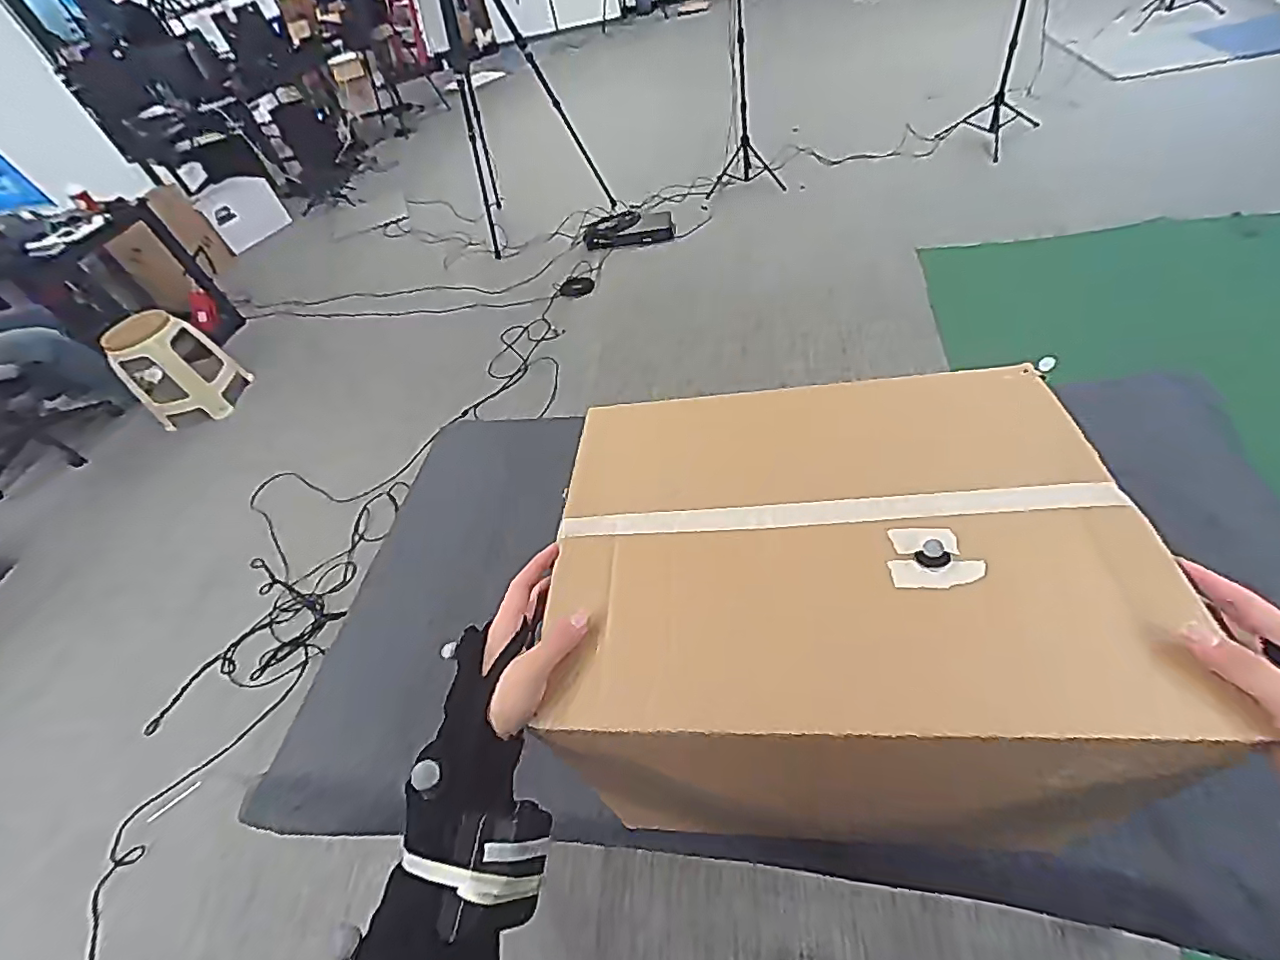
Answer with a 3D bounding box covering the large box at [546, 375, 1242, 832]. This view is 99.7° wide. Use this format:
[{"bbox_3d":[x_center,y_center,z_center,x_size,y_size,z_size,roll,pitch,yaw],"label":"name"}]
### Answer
[{"bbox_3d":[0.163,0.130,0.527,0.408,0.320,0.320,-4,48,10],"label":"large box"}]
